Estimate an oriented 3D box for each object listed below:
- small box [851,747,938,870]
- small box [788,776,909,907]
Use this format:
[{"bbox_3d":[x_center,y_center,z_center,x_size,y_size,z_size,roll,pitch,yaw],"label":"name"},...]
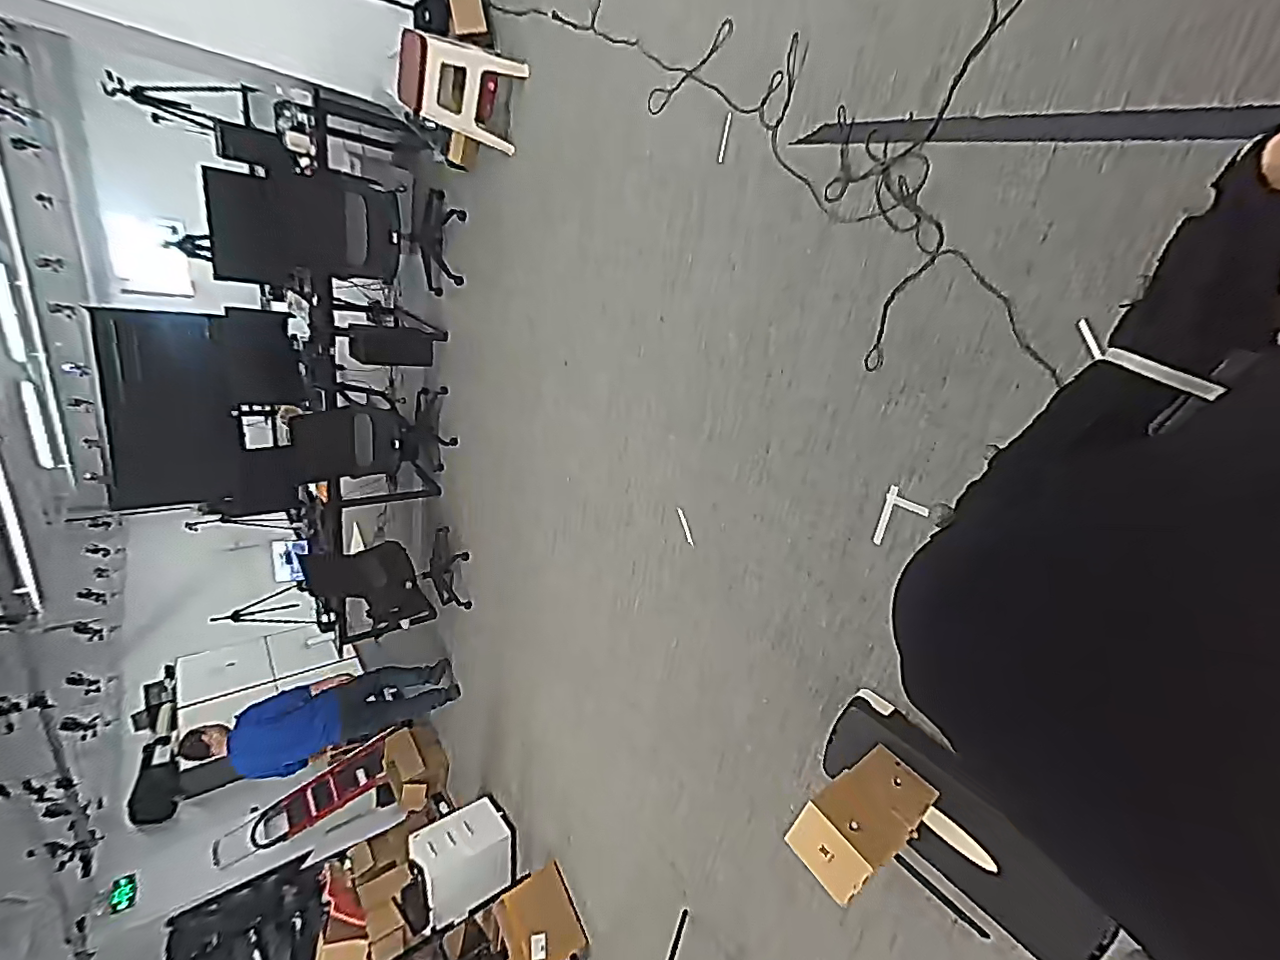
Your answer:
[{"bbox_3d":[0.625,0.825,1.377,0.168,0.176,0.179,37,124,41],"label":"small box"},{"bbox_3d":[0.493,0.840,1.282,0.179,0.176,0.168,39,125,38],"label":"small box"}]
